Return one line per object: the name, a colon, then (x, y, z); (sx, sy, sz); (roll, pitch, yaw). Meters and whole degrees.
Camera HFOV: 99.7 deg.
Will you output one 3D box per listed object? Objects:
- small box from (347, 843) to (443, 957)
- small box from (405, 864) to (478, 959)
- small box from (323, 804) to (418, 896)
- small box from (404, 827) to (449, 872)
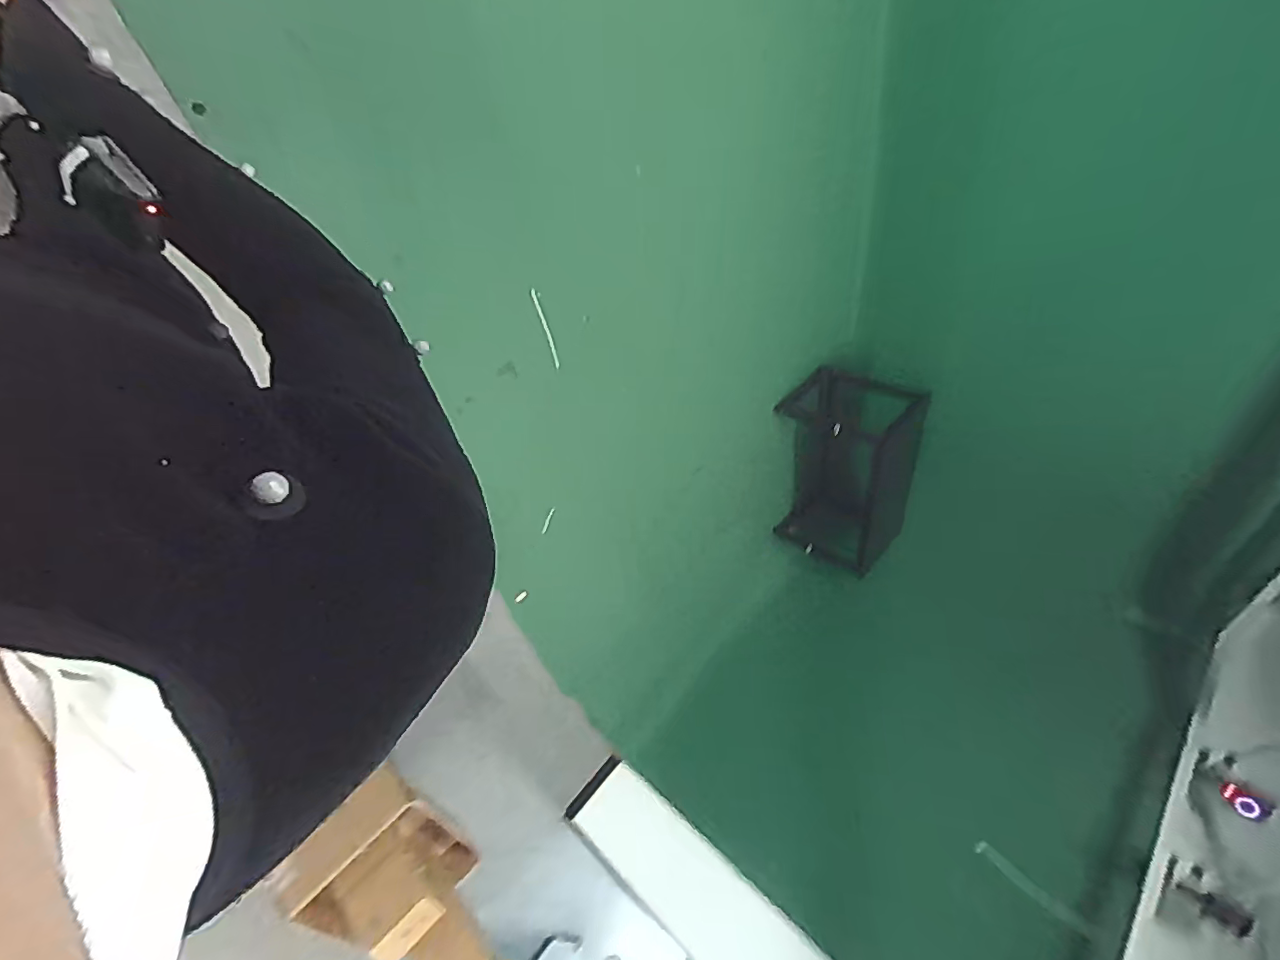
small box: (-0.706, 1.198, 1.547); (0.179, 0.176, 0.168); (-38, 139, -30)
small box: (-0.661, 1.389, 1.731); (0.179, 0.176, 0.168); (-42, 139, -27)
small box: (-0.822, 1.136, 1.647); (0.179, 0.176, 0.168); (-39, 139, -29)
small box: (-0.779, 1.331, 1.830); (0.179, 0.176, 0.168); (-40, 138, -28)
